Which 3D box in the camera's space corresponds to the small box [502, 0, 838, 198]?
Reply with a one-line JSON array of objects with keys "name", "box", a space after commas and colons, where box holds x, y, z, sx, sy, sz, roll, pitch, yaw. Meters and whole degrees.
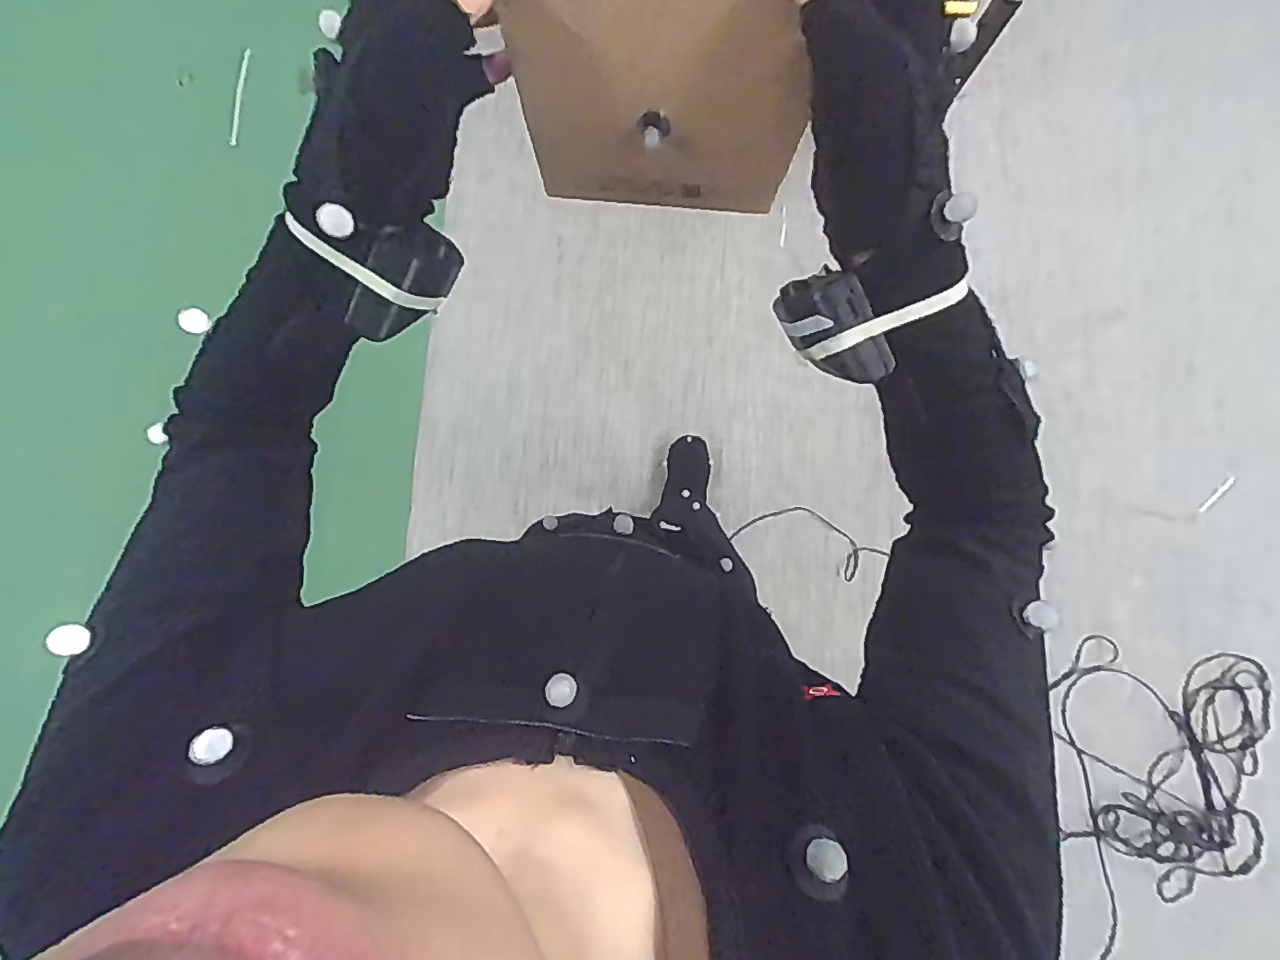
[{"name": "small box", "box": [0.022, -0.302, 0.326, 0.168, 0.176, 0.179, 5, 83, 0]}]
